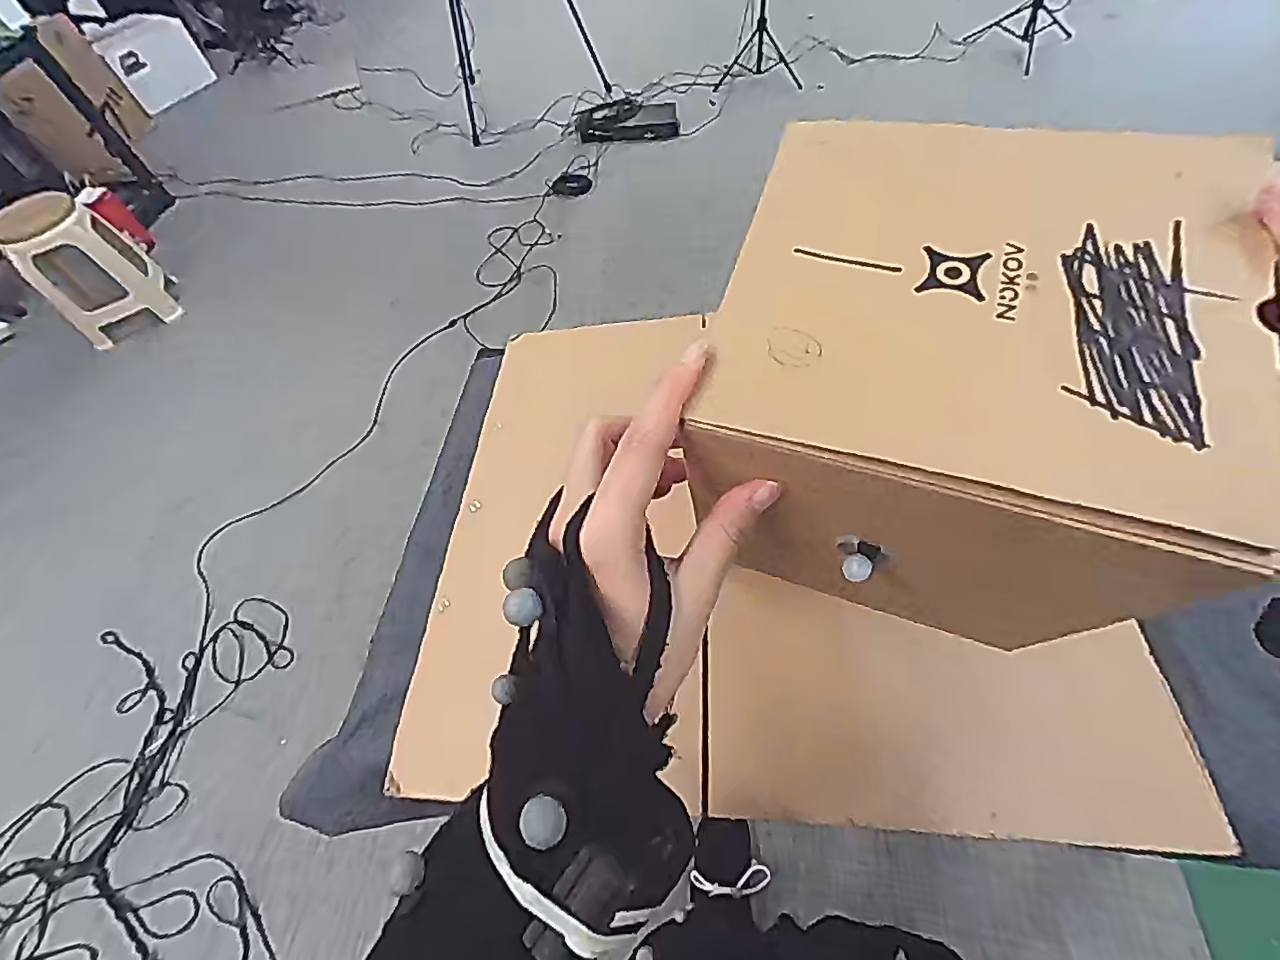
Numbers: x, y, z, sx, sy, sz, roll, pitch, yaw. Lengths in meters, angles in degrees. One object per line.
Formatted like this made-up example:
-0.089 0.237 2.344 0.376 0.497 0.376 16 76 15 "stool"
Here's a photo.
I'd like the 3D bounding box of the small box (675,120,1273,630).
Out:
0.133 -0.036 0.268 0.179 0.176 0.168 16 69 17 "small box"
